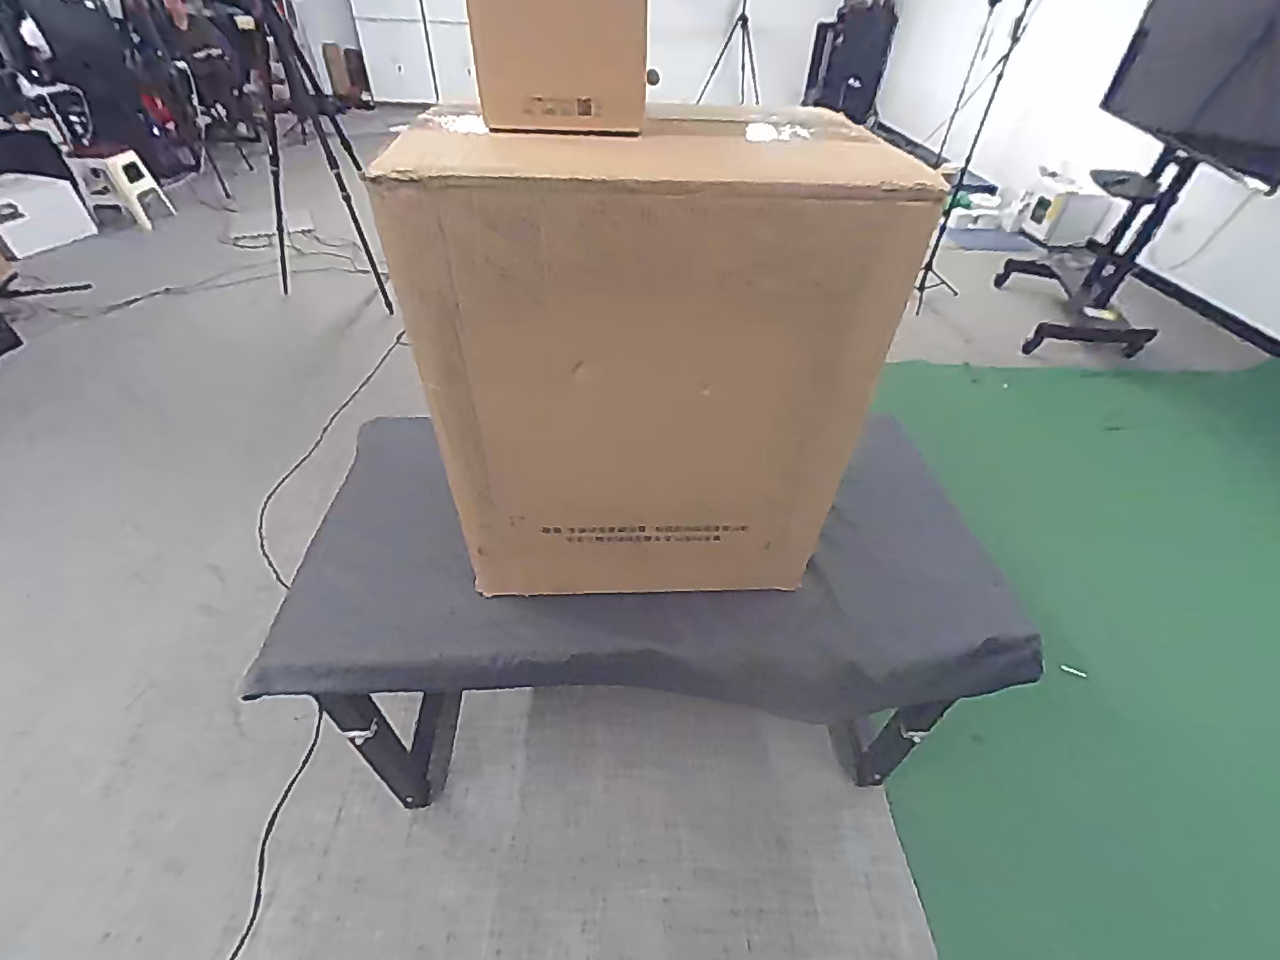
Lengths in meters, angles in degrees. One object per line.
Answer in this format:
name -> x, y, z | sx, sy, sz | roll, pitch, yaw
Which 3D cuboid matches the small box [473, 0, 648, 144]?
small box -> -0.076, -0.471, 0.573 | 0.168, 0.176, 0.179 | 0, 41, -1
